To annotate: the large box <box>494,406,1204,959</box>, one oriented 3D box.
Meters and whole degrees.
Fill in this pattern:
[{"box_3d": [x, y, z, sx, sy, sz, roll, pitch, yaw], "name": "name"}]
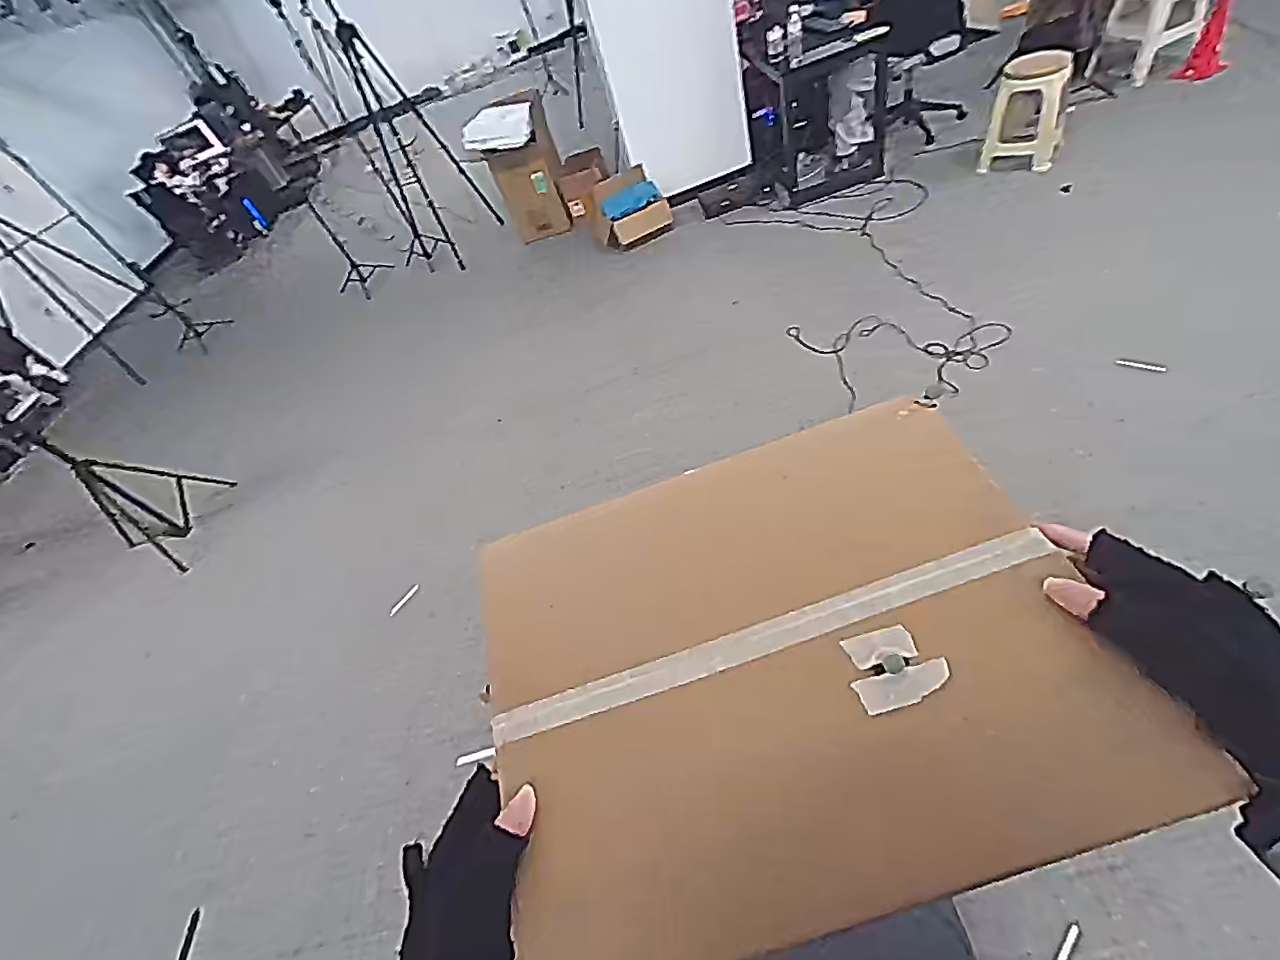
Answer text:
[{"box_3d": [0.124, 0.199, 0.511, 0.408, 0.320, 0.320, -20, 54, 2], "name": "large box"}]
